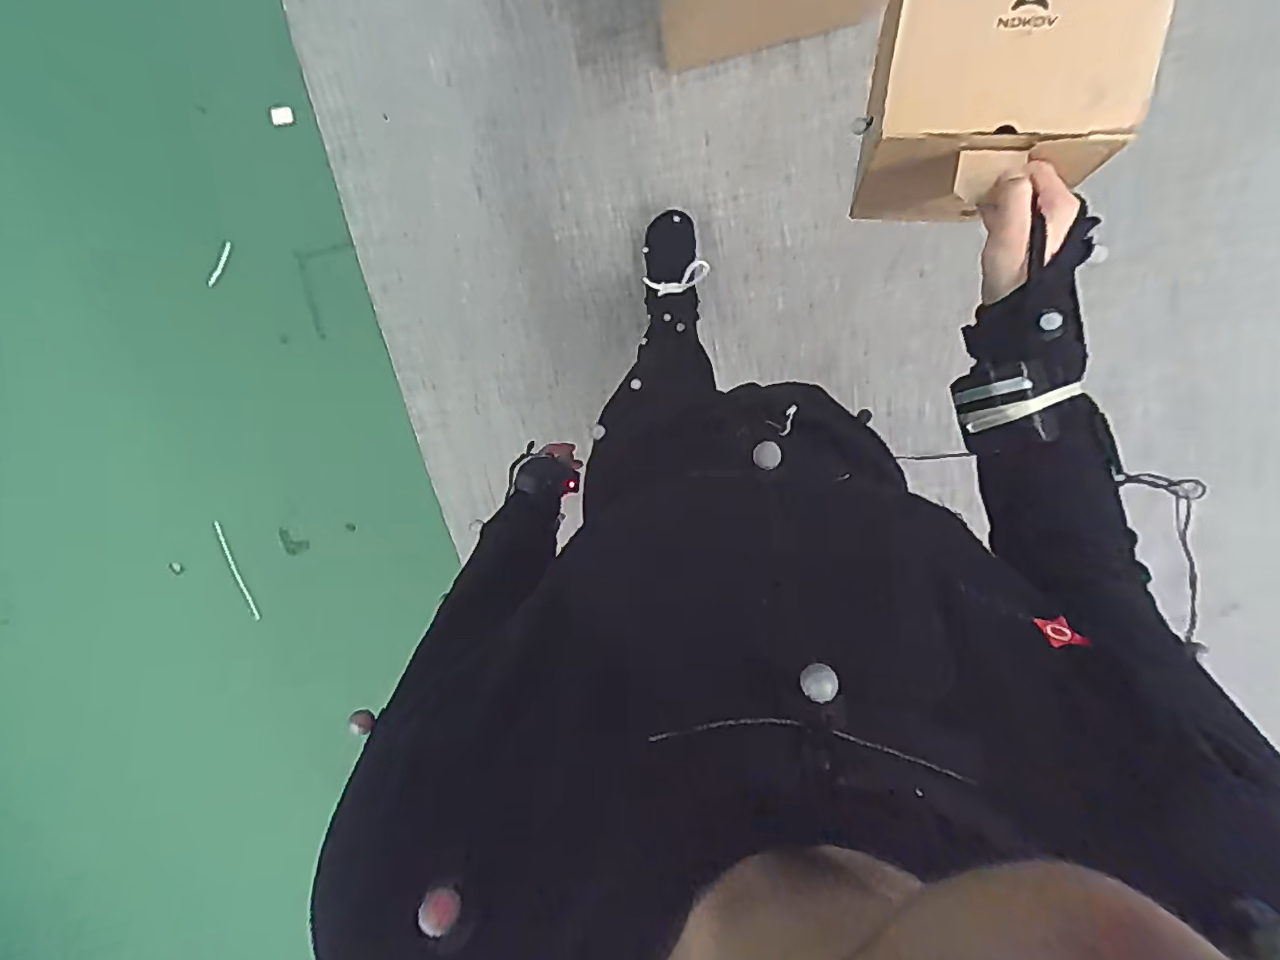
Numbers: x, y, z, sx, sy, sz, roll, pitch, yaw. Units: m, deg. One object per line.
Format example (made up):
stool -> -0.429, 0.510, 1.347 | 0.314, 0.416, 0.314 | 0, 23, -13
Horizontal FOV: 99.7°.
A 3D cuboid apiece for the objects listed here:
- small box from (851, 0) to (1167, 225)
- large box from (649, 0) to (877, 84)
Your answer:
small box -> 0.278, -0.326, 0.442 | 0.168, 0.176, 0.179 | 8, 96, 13
large box -> 0.202, -0.951, 0.909 | 0.408, 0.320, 0.320 | -11, 106, 6
